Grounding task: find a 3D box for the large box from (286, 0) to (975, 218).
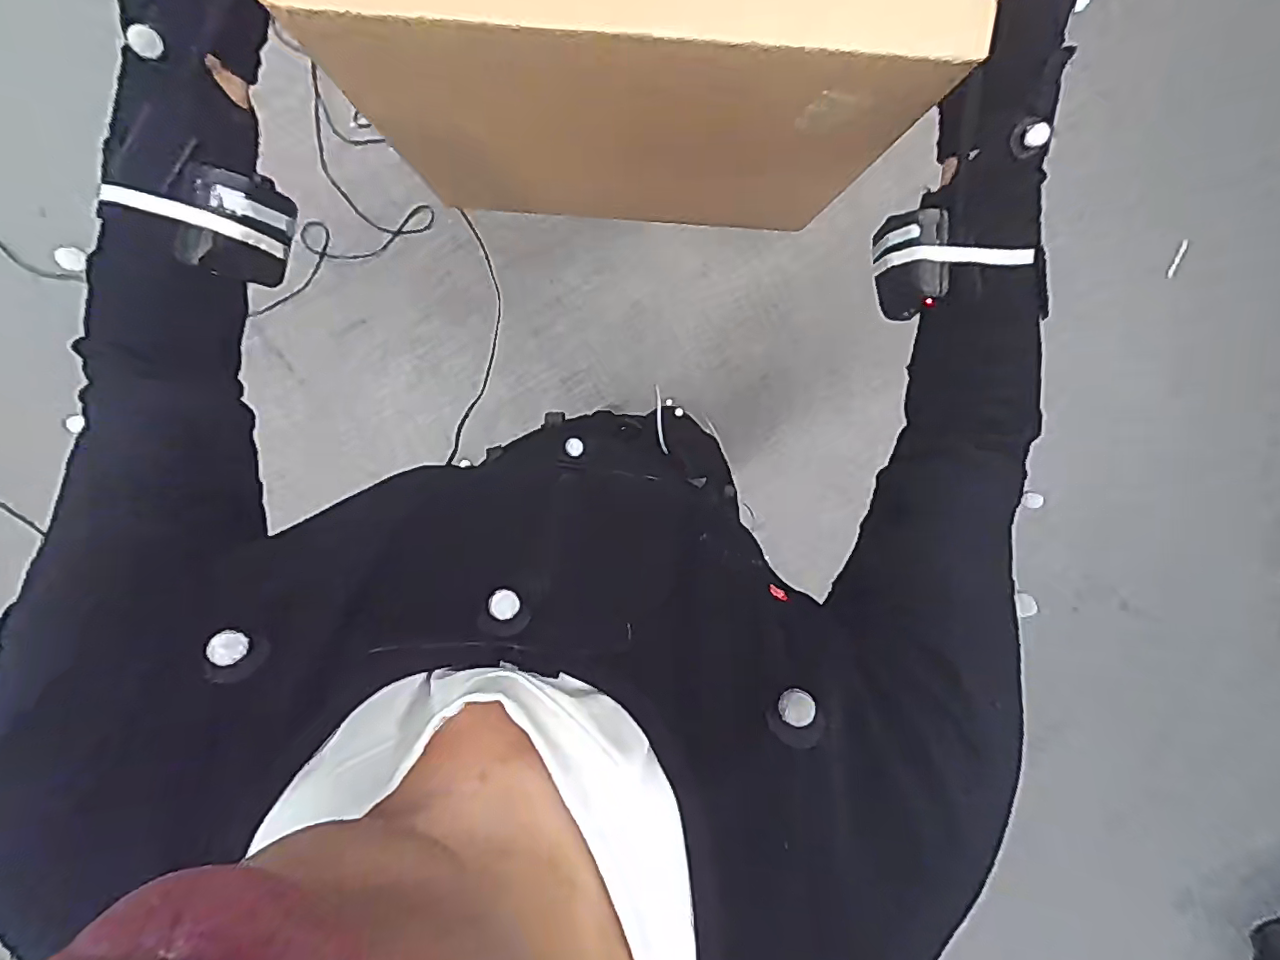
[{"bbox_3d":[-0.008,-0.428,0.438,0.408,0.320,0.320,1,98,-4],"label":"large box"}]
